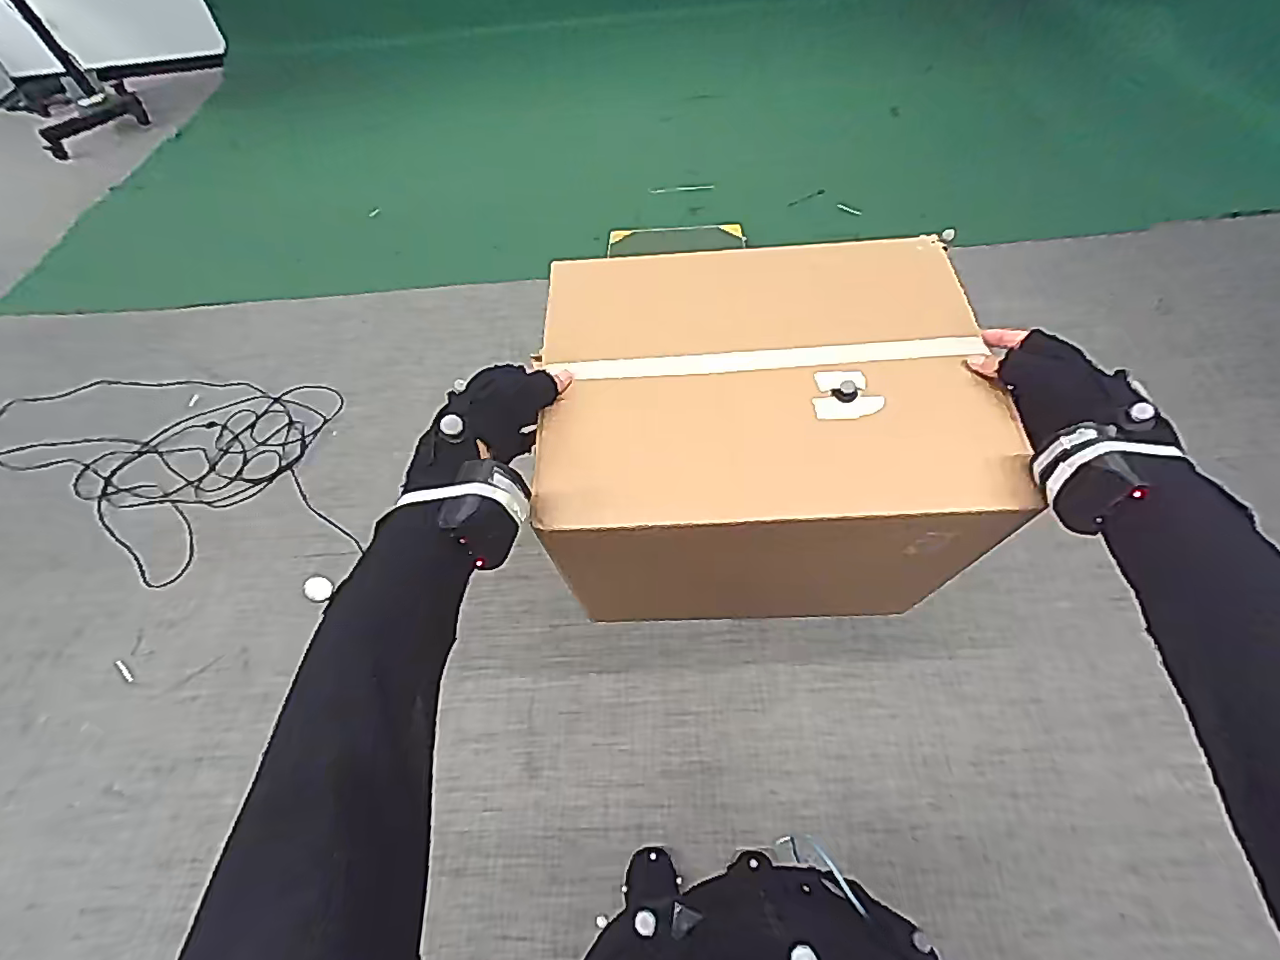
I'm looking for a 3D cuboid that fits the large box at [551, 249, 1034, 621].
[{"bbox_3d":[0.123,-0.031,0.641,0.408,0.320,0.320,-3,62,2],"label":"large box"}]
